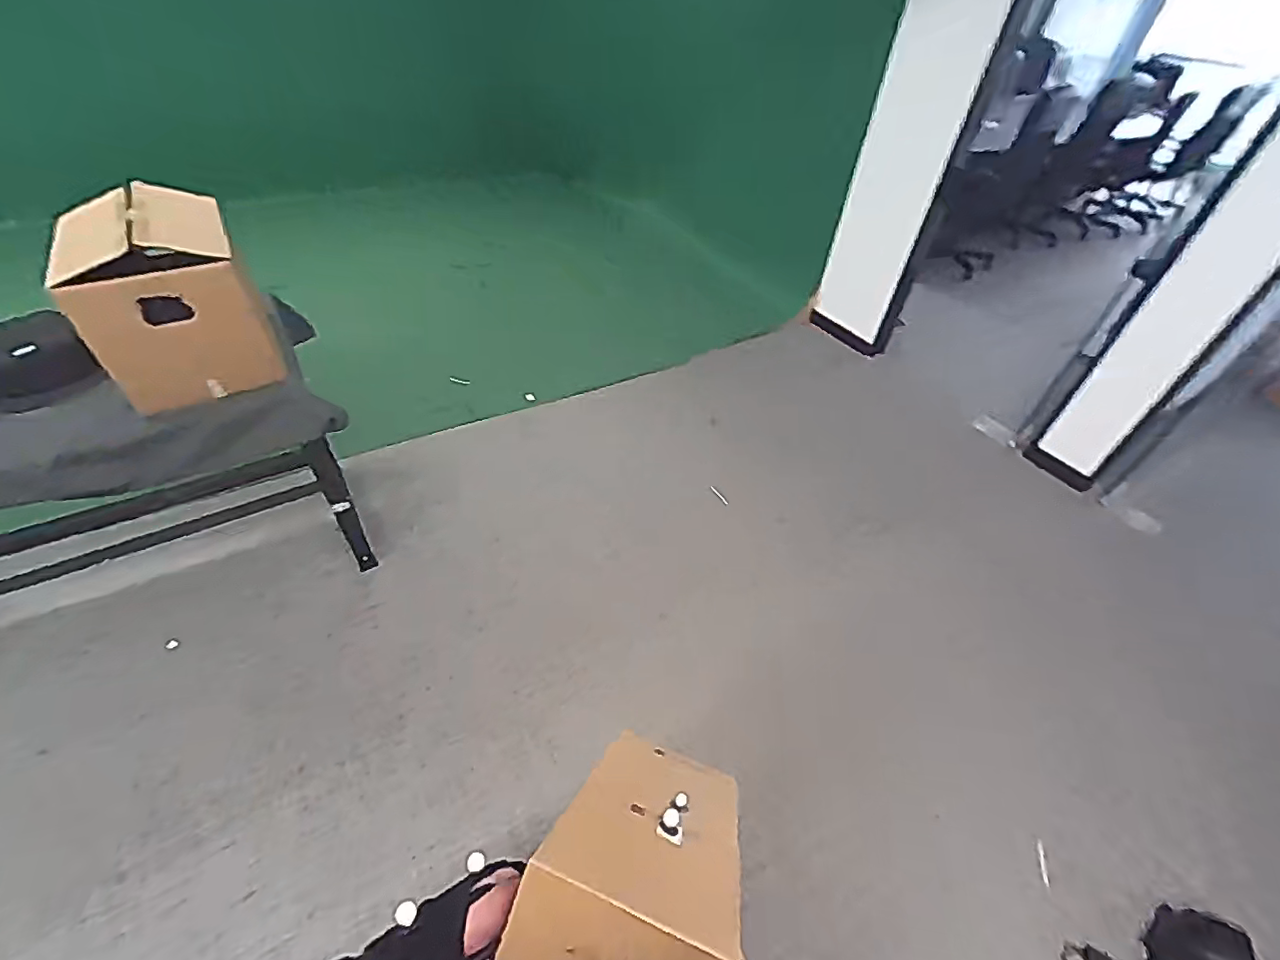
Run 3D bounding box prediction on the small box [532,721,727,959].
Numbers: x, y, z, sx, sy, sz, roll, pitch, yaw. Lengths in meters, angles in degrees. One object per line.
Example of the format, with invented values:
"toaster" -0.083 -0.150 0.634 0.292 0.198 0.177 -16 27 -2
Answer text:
"small box" 0.001 0.419 0.634 0.168 0.176 0.179 18 86 11
